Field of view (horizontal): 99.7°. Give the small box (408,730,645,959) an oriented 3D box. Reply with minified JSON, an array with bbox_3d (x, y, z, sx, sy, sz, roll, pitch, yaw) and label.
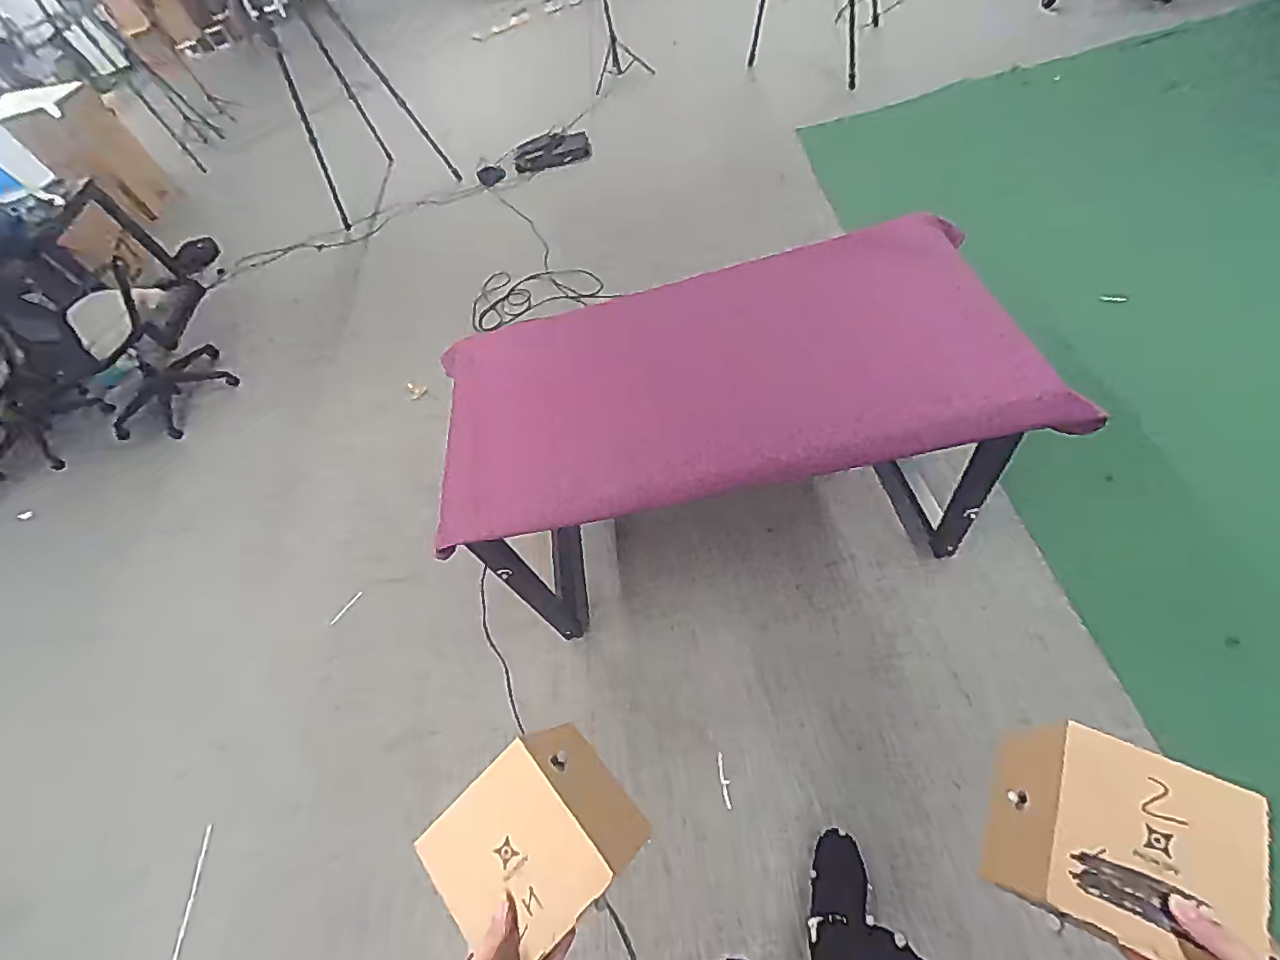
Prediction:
[{"bbox_3d":[-0.121,0.416,0.630,0.168,0.176,0.179,-44,67,-2],"label":"small box"}]
